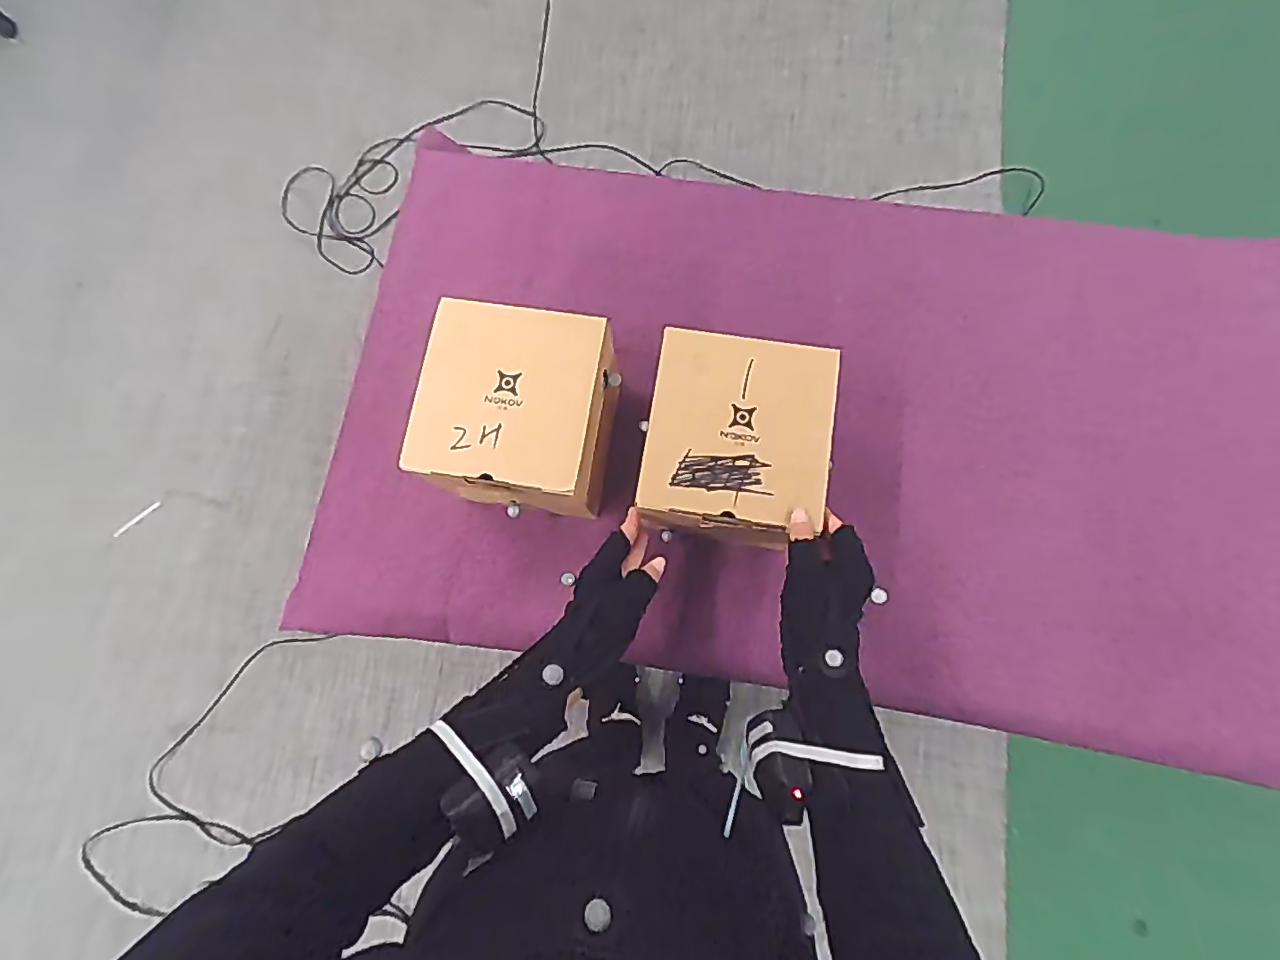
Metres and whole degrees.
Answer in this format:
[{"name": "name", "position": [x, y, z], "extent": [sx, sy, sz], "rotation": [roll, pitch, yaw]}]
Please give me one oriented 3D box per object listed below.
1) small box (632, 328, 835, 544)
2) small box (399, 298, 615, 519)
[{"name": "small box", "position": [0.091, -0.033, 0.570], "extent": [0.168, 0.176, 0.179], "rotation": [9, 78, 4]}, {"name": "small box", "position": [-0.124, -0.065, 0.584], "extent": [0.168, 0.176, 0.179], "rotation": [10, 79, 5]}]
